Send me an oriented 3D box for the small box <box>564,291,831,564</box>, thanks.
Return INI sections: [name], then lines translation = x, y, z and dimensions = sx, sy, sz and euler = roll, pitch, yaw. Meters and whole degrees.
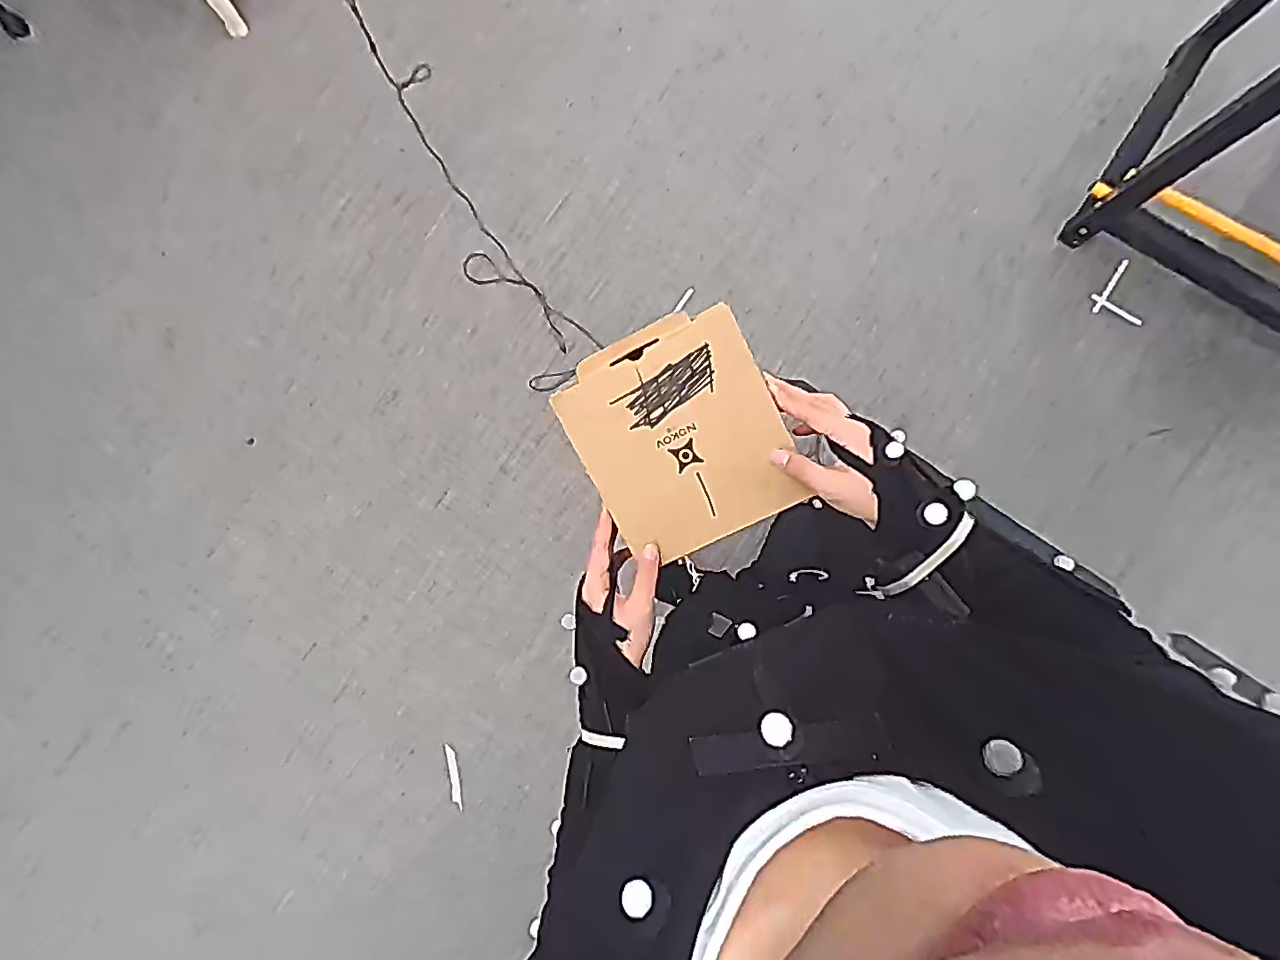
[small box]
translation = 0.051, -0.051, 0.514
dimensions = 0.168, 0.176, 0.179
euler = -26, 99, 10
